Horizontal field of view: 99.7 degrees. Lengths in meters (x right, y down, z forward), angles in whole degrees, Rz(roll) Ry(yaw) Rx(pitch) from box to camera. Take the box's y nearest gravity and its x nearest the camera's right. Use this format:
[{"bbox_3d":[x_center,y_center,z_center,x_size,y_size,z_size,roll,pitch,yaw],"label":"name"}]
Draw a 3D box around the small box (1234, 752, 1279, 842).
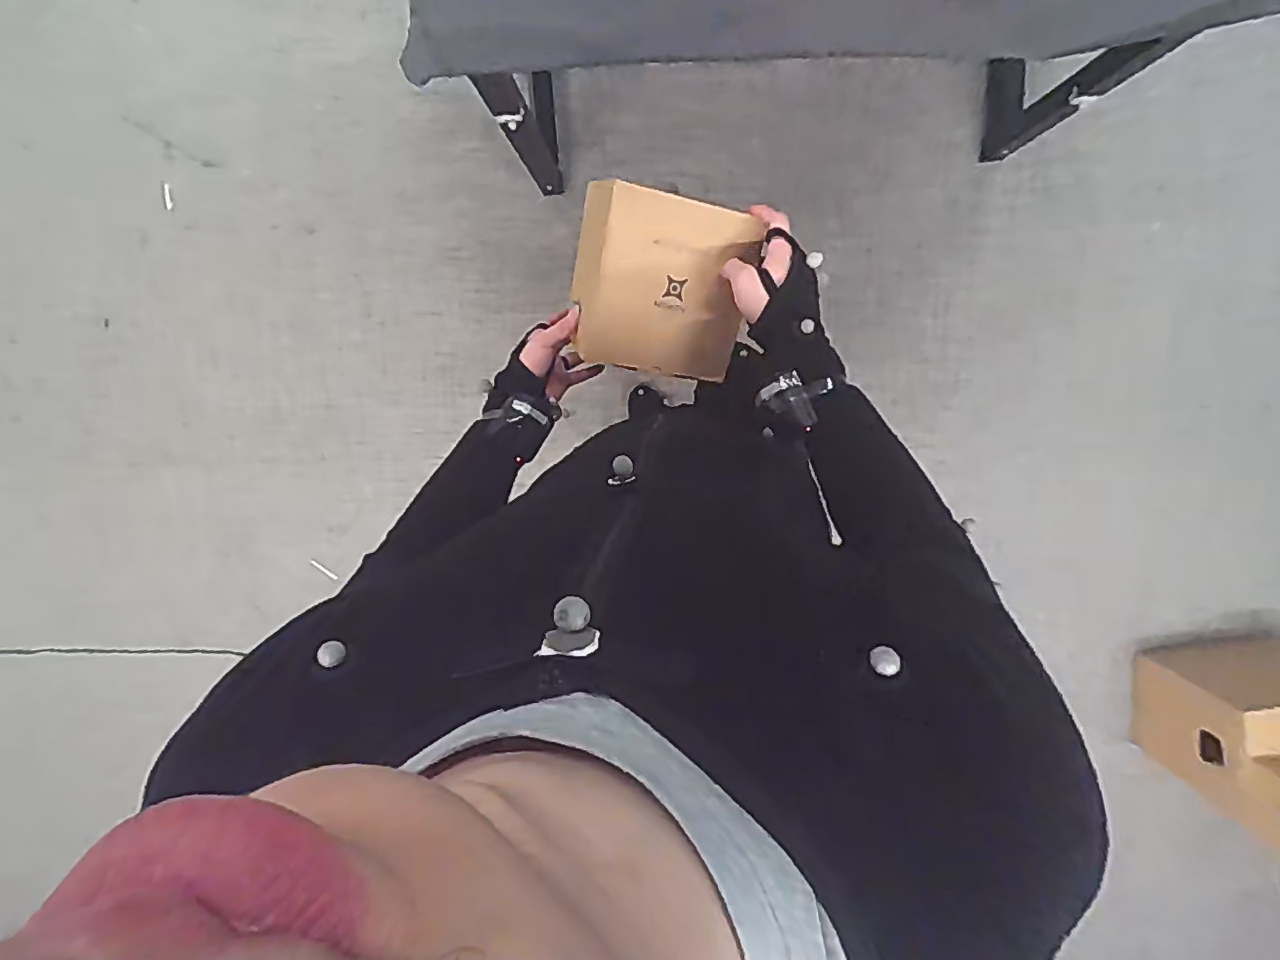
[{"bbox_3d":[1.559,0.760,1.260,0.168,0.176,0.179,-3,101,1],"label":"small box"}]
